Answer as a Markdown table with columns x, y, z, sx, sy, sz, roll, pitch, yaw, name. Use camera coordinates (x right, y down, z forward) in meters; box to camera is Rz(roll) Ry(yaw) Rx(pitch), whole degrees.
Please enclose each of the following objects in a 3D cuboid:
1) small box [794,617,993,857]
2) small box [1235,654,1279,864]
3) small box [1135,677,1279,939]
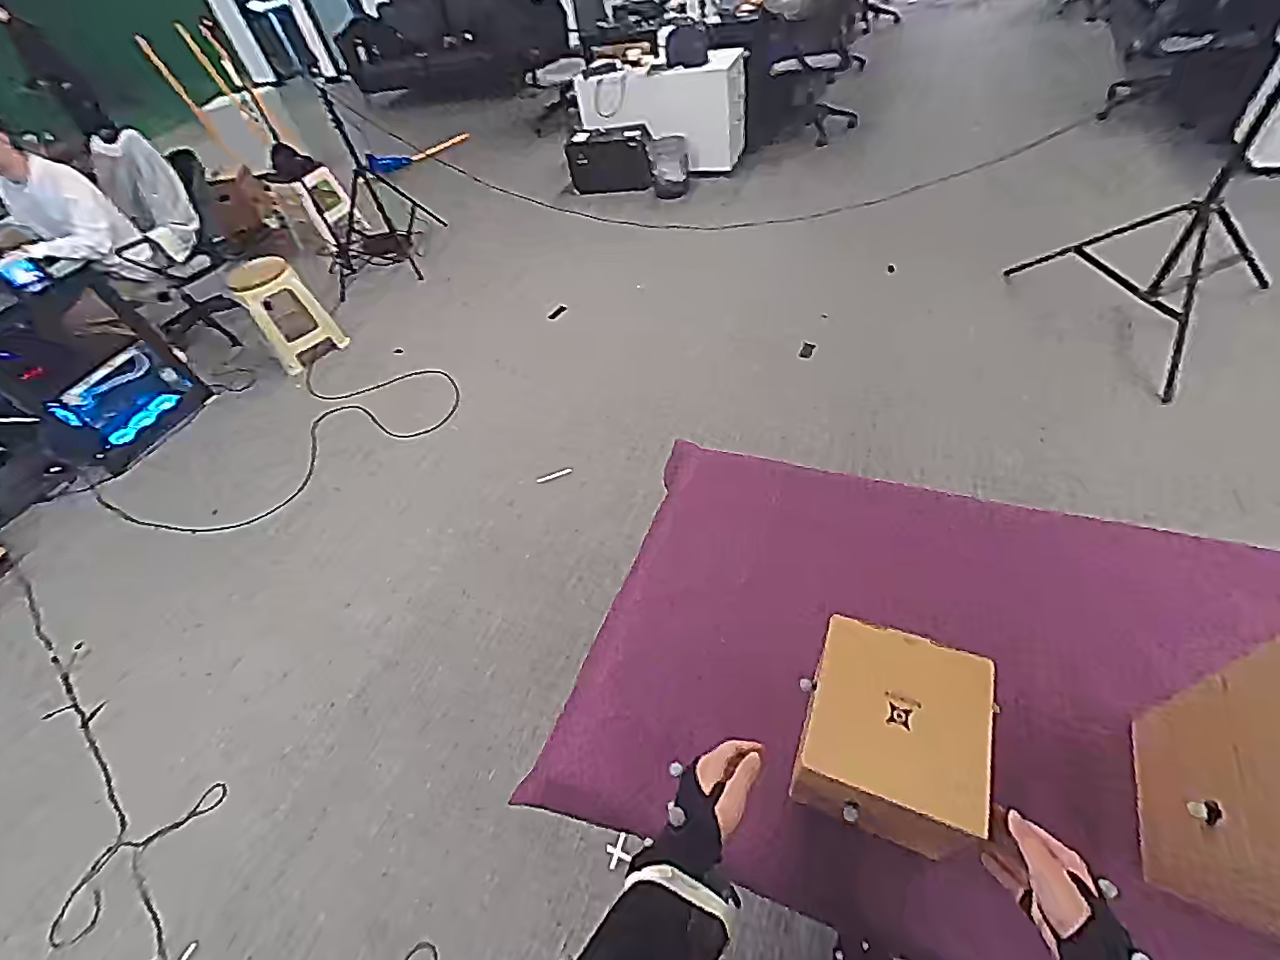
| x | y | z | sx | sy | sz | roll | pitch | yaw | name |
| --- | --- | --- | --- | --- | --- | --- | --- | --- | --- |
| 0.276 | 0.291 | 0.611 | 0.168 | 0.176 | 0.179 | 13 | 53 | 21 | small box |
| 0.597 | 0.217 | 0.391 | 0.168 | 0.176 | 0.179 | 14 | 54 | 22 | small box |
| 0.617 | 0.326 | 0.513 | 0.168 | 0.176 | 0.179 | 15 | 54 | 22 | small box |
